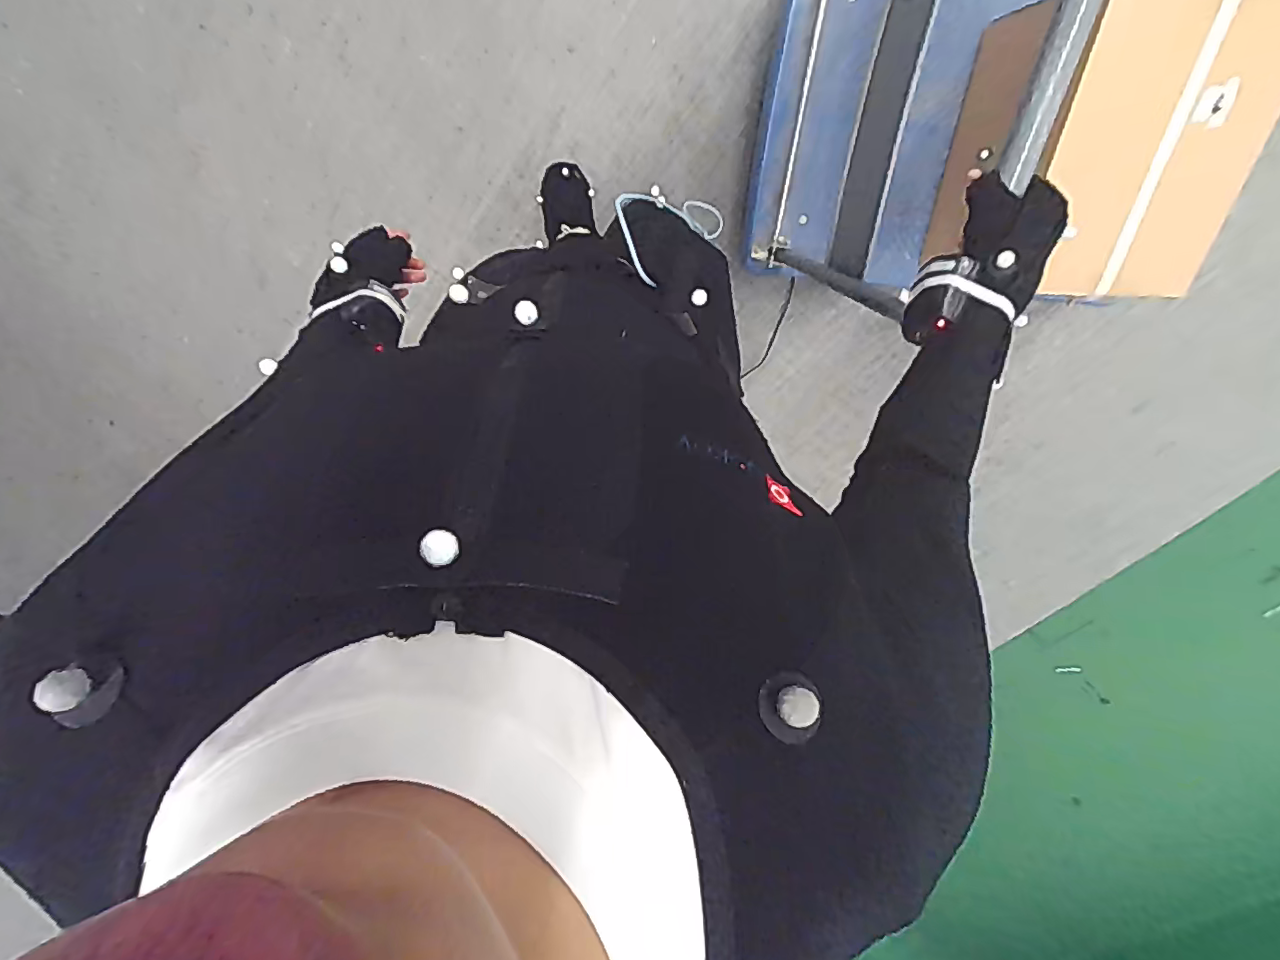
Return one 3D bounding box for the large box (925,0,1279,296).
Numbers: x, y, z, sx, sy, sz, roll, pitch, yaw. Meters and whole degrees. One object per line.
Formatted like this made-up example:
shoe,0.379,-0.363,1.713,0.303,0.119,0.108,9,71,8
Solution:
large box,0.757,-0.552,0.932,0.320,0.320,0.408,0,120,-3
